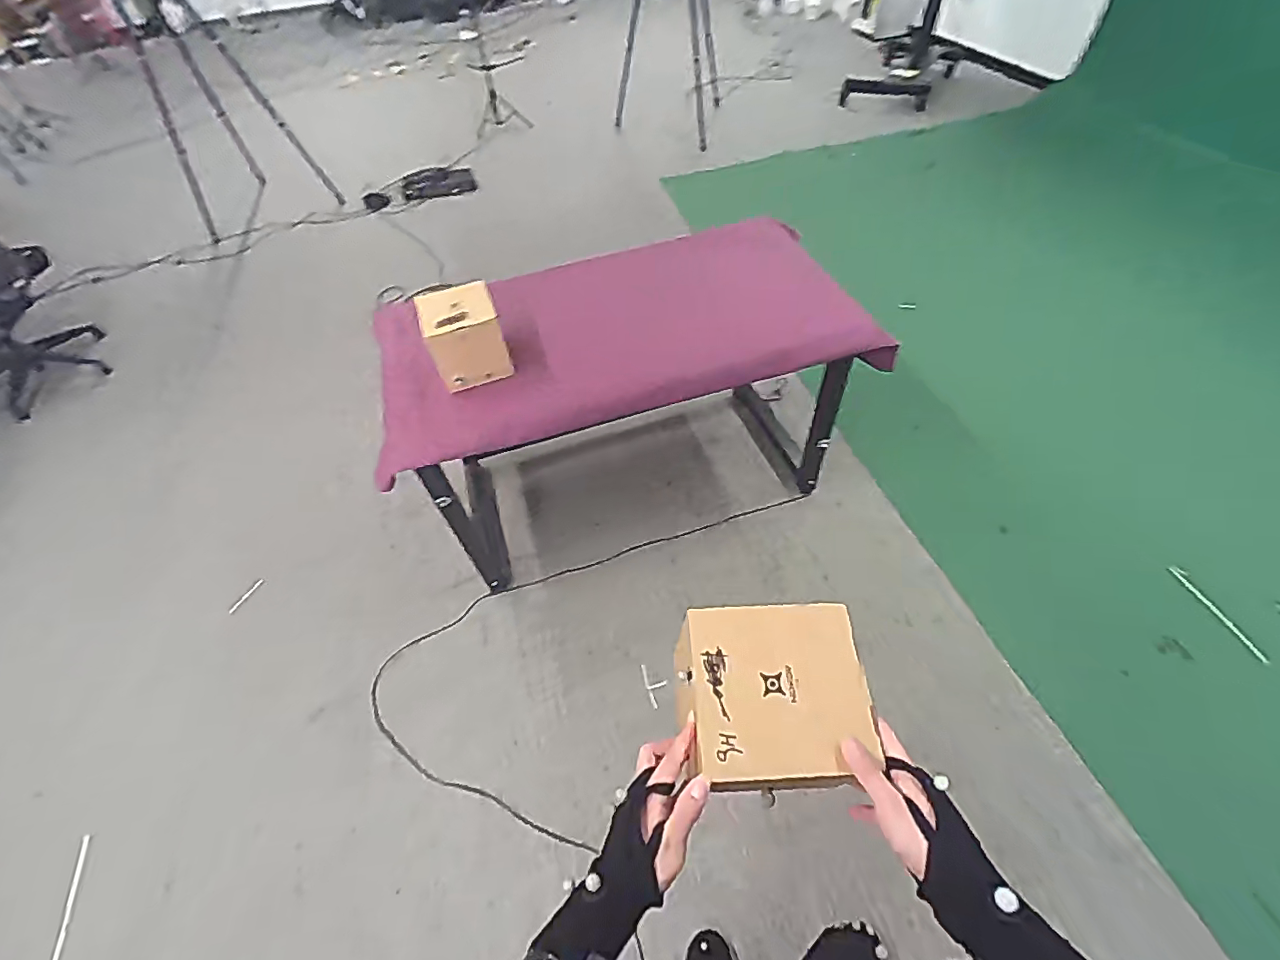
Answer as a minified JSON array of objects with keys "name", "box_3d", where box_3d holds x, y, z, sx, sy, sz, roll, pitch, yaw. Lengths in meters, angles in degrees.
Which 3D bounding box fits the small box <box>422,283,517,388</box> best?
[{"name":"small box","box_3d":[-0.410,-0.344,1.314,0.168,0.176,0.179,-18,52,-10]}]

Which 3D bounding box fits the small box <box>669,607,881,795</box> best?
[{"name":"small box","box_3d":[0.131,0.249,0.604,0.179,0.176,0.168,-1,56,-3]}]
